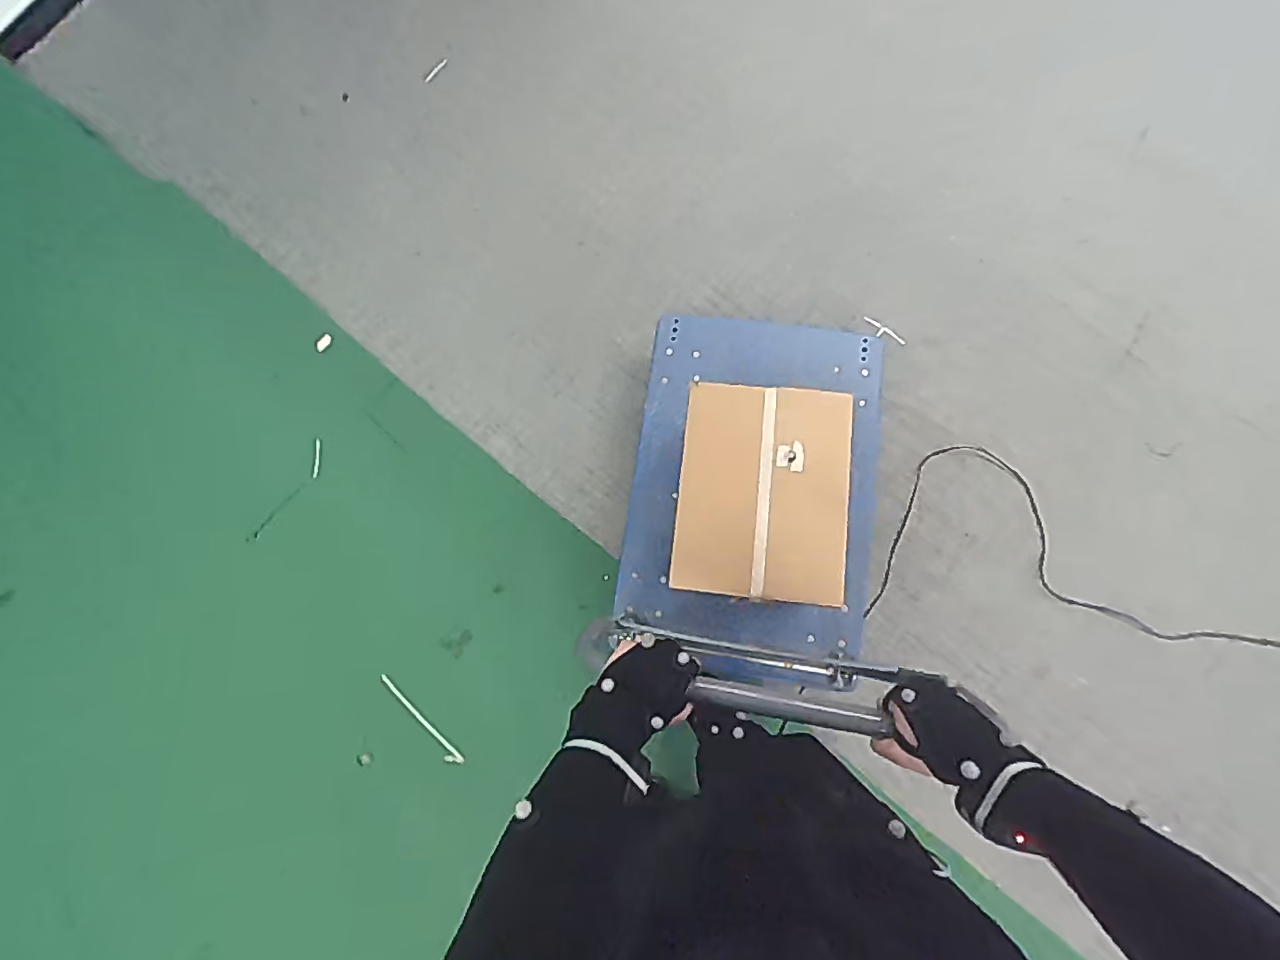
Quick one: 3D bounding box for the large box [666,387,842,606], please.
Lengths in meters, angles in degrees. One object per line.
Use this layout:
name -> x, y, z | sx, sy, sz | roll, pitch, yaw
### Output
large box -> 0.233, 0.051, 1.163 | 0.320, 0.320, 0.408 | 6, 79, 5
